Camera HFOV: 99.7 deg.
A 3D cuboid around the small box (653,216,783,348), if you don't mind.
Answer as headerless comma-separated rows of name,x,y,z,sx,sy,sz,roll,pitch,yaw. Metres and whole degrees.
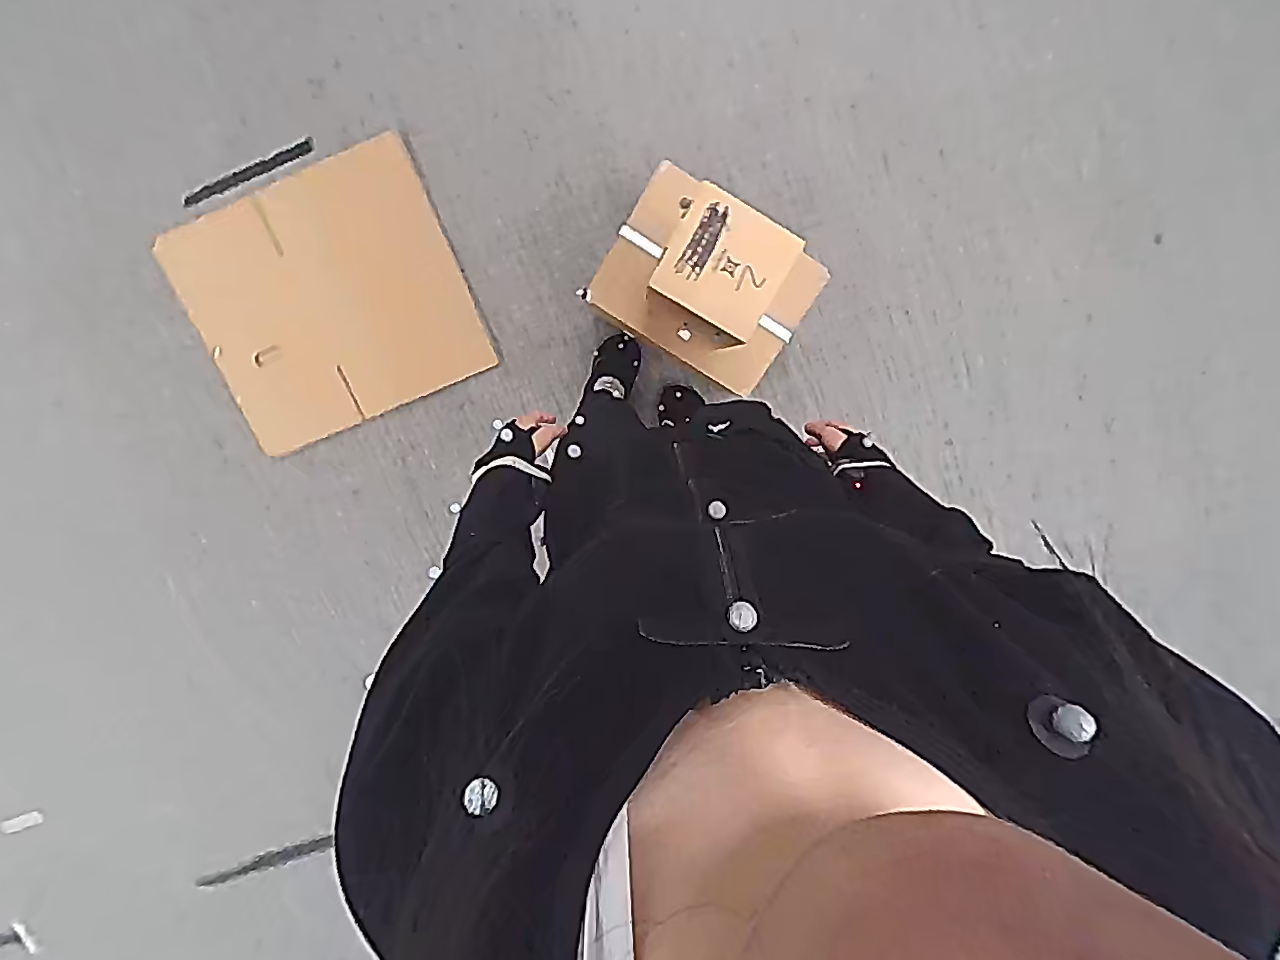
small box,0.135,-0.360,1.024,0.179,0.176,0.168,29,101,-6
